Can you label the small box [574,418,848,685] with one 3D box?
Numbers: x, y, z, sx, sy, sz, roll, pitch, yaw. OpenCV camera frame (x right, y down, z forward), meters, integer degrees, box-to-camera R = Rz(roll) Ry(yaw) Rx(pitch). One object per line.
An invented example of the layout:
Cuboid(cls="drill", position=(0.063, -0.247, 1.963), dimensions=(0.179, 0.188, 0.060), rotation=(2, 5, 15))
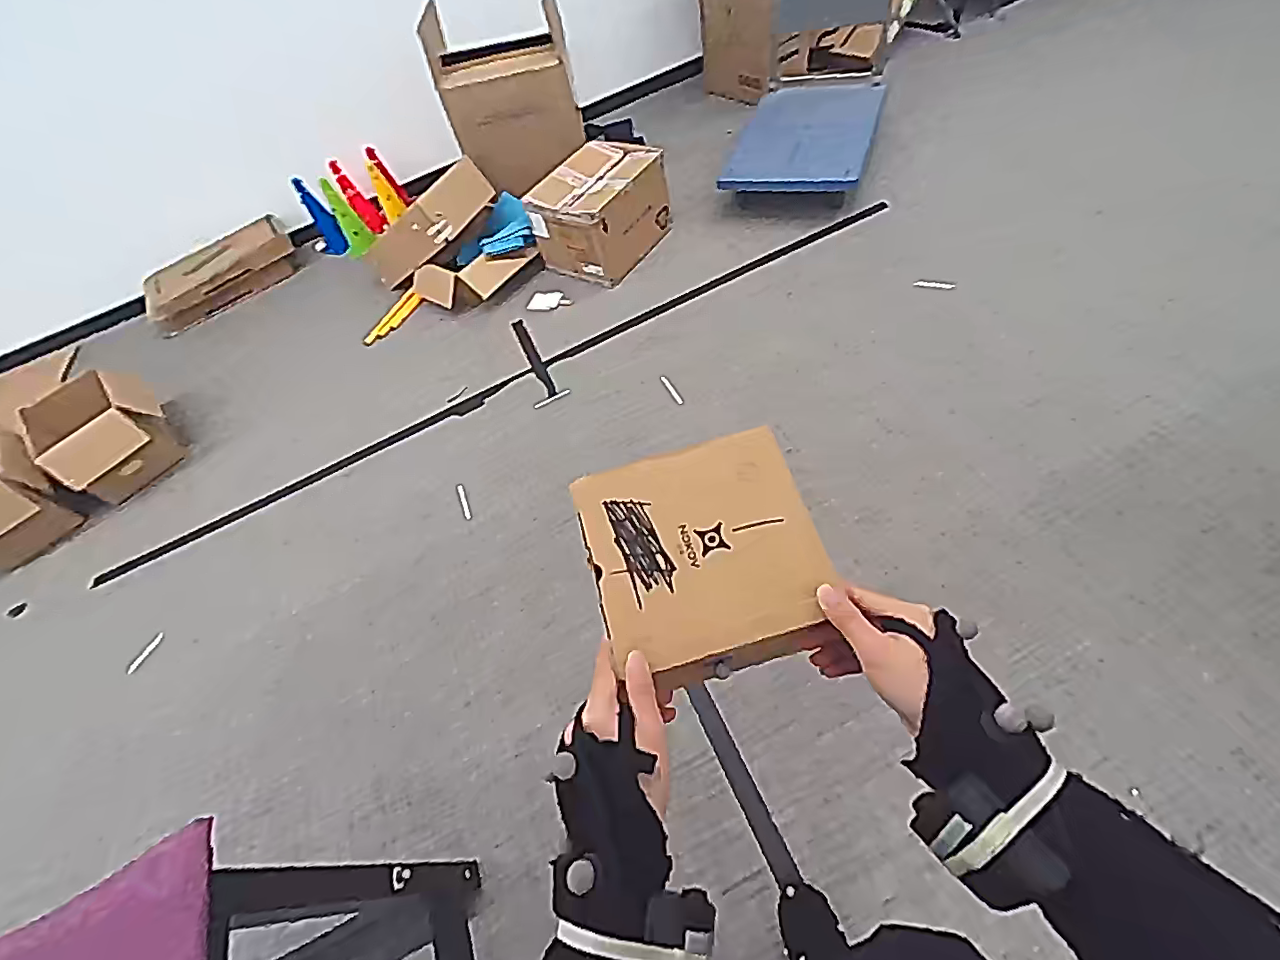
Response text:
Cuboid(cls="small box", position=(0.055, 0.075, 0.489), dimensions=(0.179, 0.176, 0.168), rotation=(-16, 63, -3))
